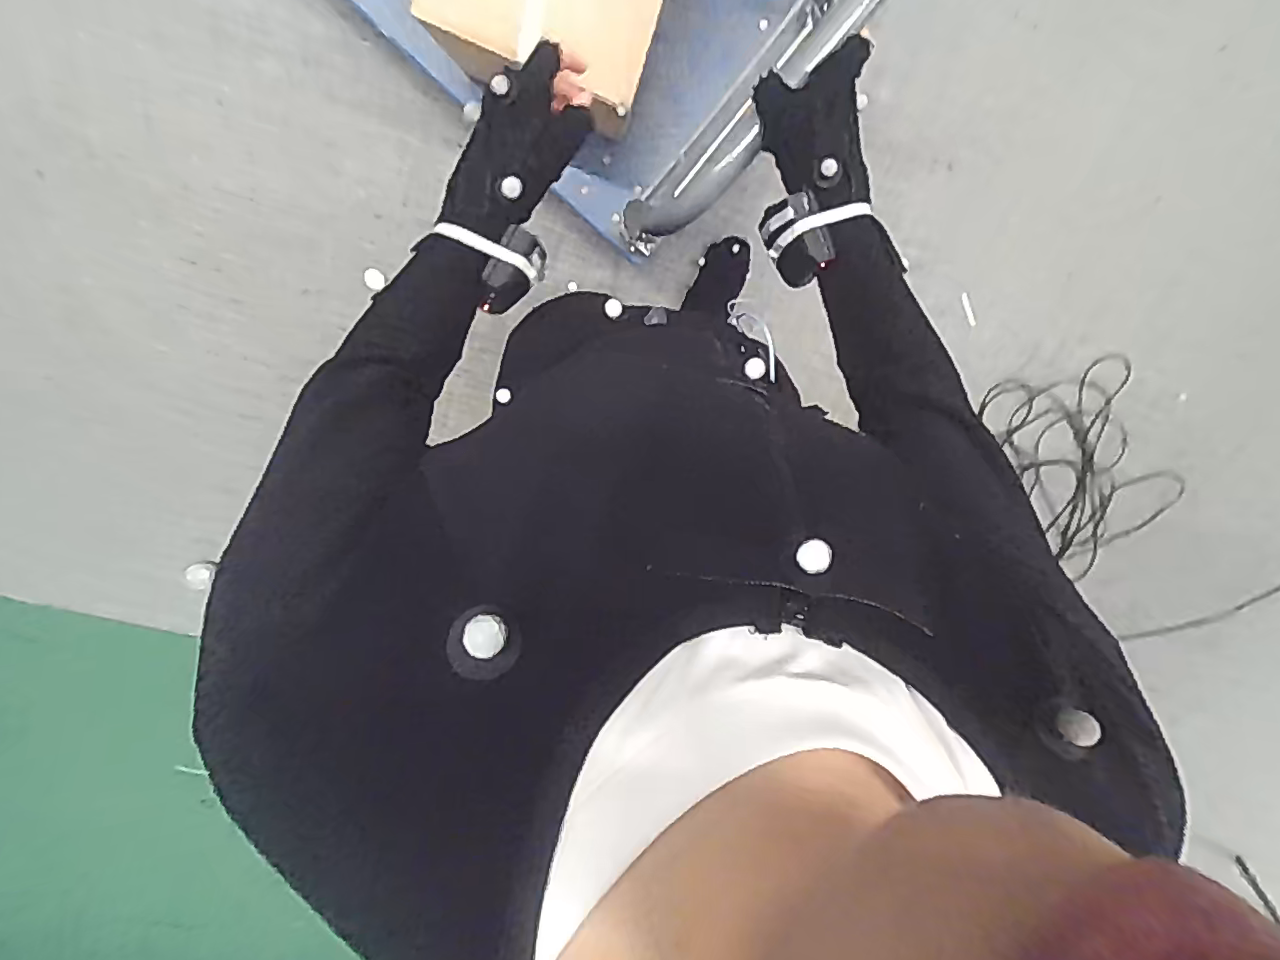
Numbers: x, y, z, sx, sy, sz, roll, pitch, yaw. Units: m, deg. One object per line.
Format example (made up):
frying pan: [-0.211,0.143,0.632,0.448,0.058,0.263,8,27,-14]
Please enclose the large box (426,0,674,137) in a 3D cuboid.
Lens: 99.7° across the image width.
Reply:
large box: [-0.091,-0.811,0.811,0.320,0.320,0.408,17,114,-11]
